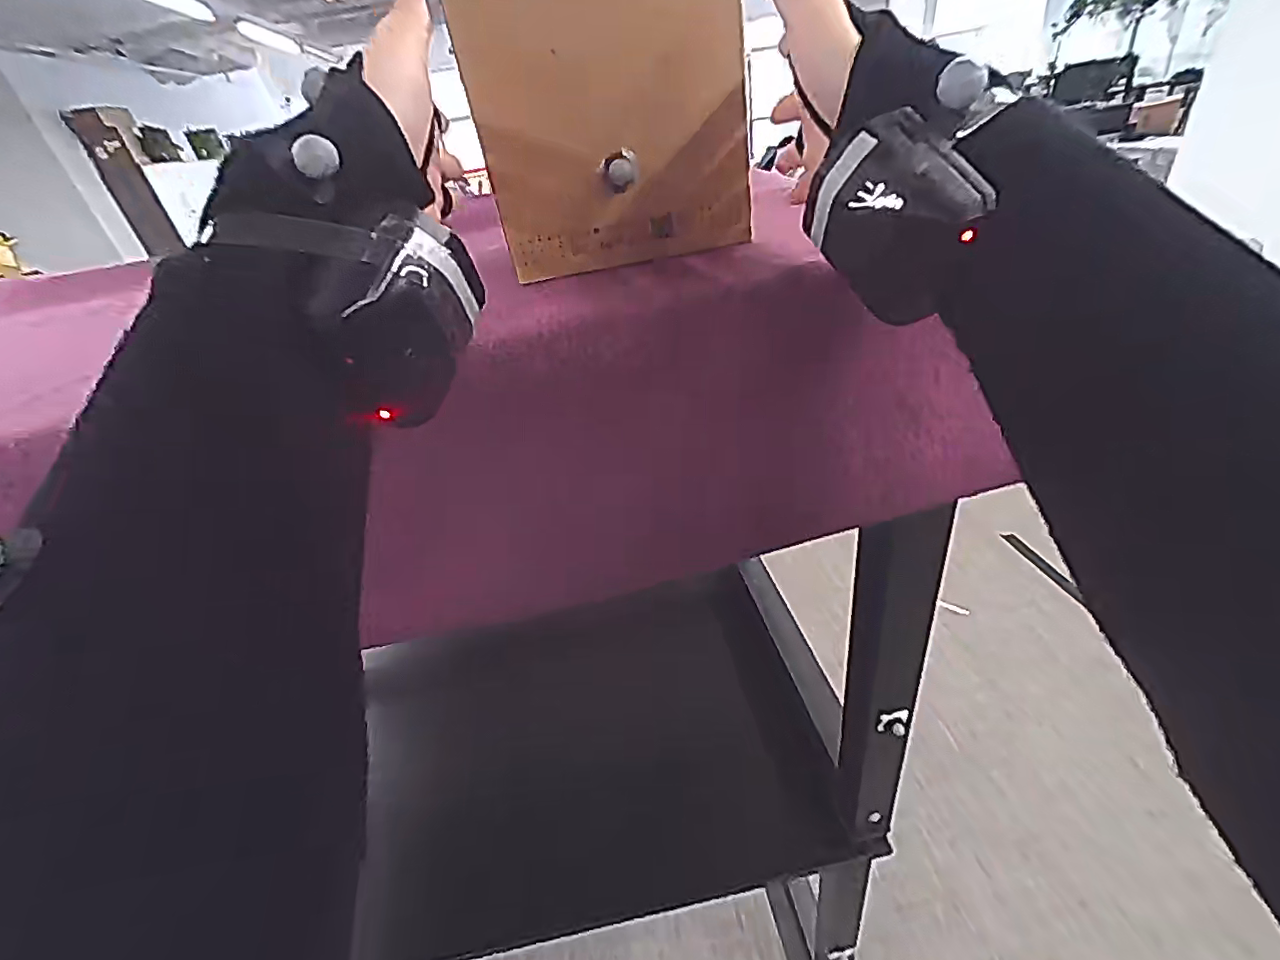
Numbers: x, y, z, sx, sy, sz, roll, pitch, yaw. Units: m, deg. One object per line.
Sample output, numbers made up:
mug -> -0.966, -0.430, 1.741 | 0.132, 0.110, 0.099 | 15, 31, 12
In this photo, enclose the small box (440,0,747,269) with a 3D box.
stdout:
small box -> -0.026, -0.260, 0.385 | 0.168, 0.176, 0.179 | -11, 33, 1
